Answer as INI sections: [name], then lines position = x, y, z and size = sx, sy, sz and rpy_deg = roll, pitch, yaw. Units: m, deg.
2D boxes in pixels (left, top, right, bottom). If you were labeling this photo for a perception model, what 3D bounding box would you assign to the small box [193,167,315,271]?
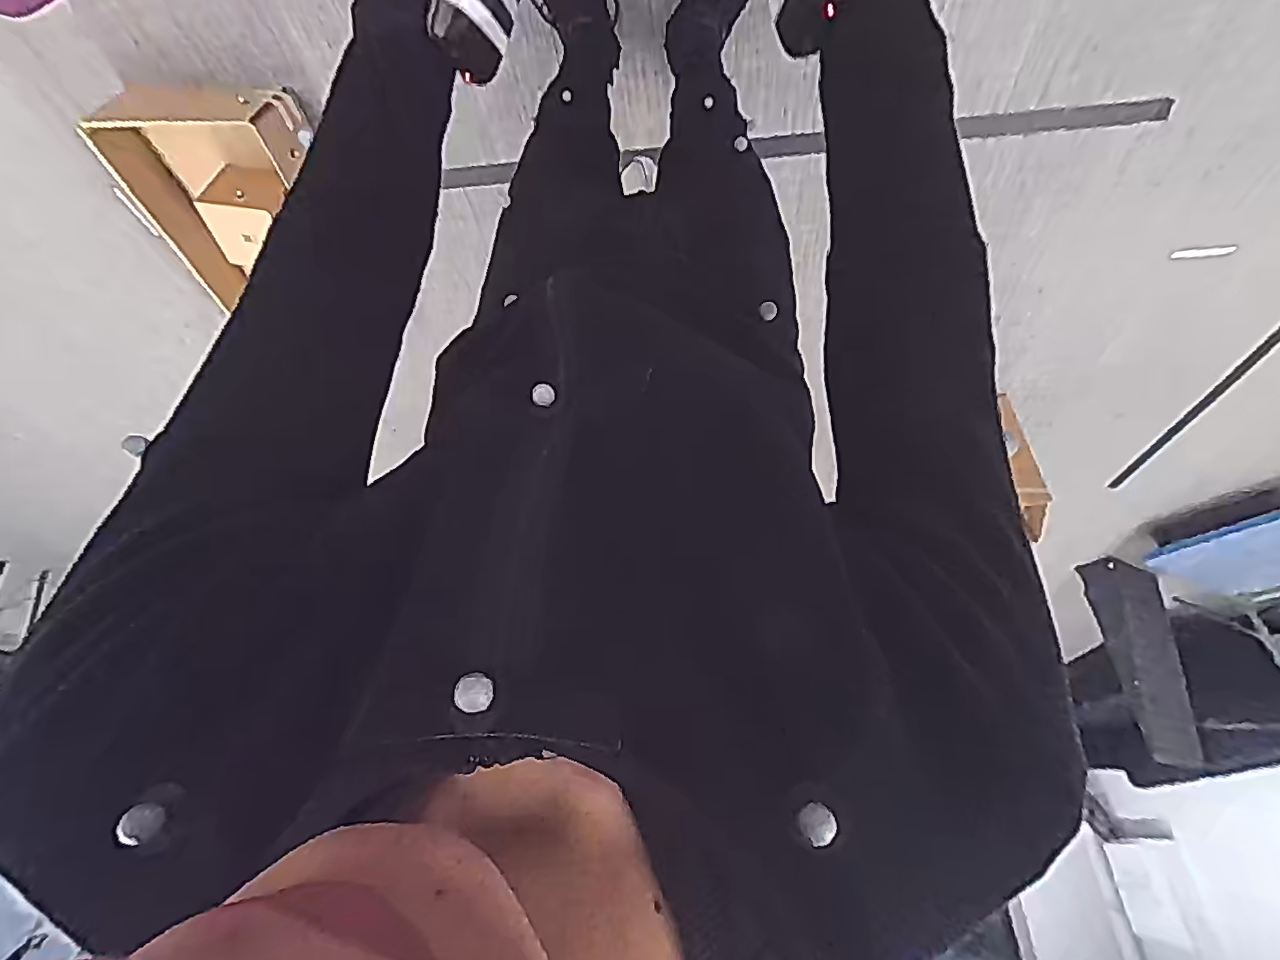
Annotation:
[small box]
position = -0.947, -0.654, 1.352
size = 0.179, 0.176, 0.168
rpy_deg = 5, 147, -4
